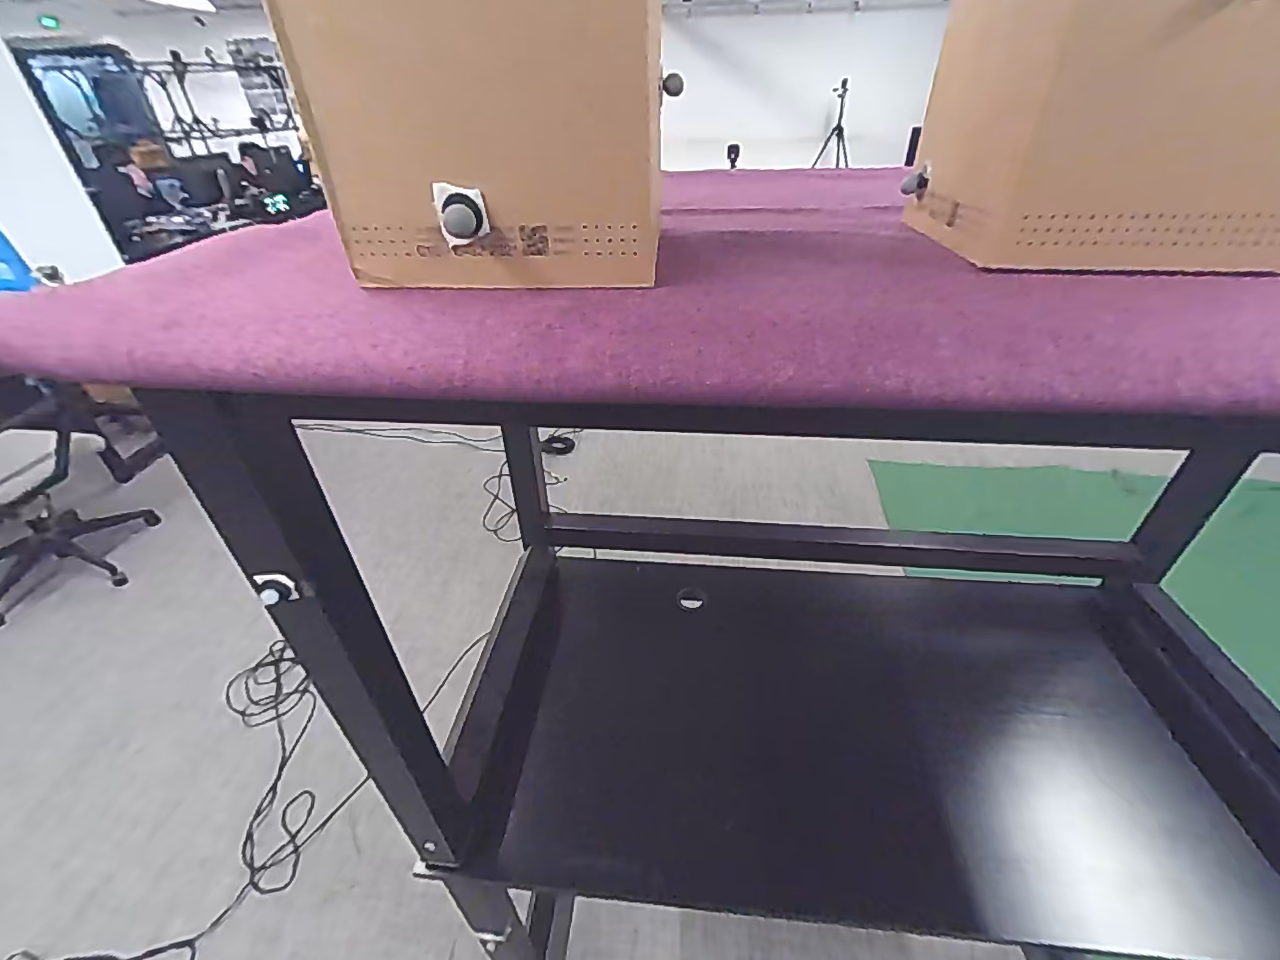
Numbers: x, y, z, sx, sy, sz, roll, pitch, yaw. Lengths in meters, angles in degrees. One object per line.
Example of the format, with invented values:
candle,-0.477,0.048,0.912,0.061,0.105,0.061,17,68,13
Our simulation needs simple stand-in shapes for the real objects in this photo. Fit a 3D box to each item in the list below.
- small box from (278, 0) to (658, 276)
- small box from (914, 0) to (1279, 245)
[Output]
small box,-0.075,-0.225,0.307,0.168,0.176,0.179,-1,37,3
small box,0.276,-0.234,0.303,0.179,0.176,0.168,3,35,6
